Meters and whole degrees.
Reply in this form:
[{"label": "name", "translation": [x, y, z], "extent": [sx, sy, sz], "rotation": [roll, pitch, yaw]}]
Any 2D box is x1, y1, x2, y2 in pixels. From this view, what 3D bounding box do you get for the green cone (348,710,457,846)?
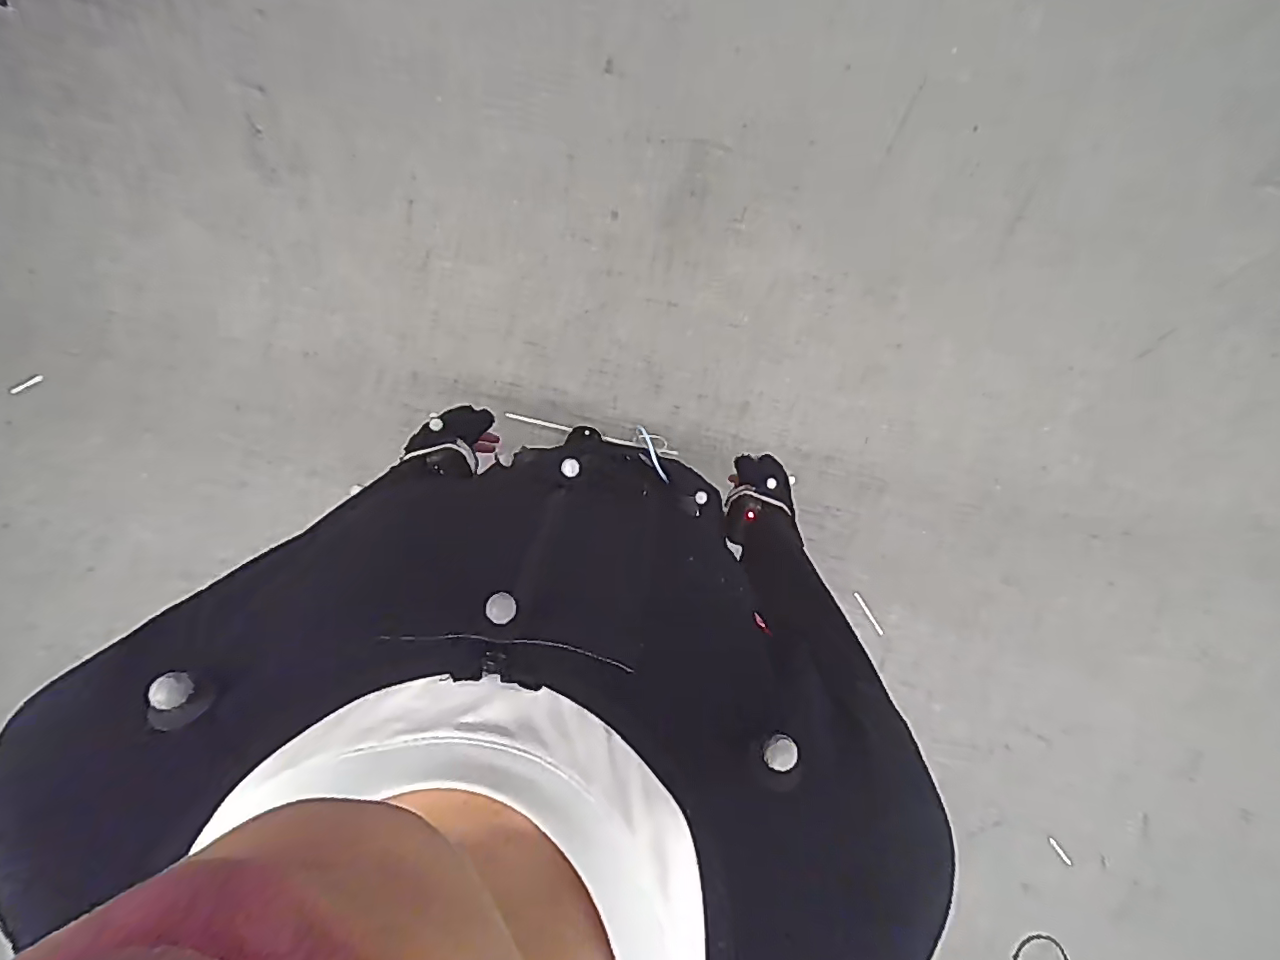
[{"label": "green cone", "translation": [-0.631, 0.776, 1.366], "extent": [0.202, 0.368, 0.200], "rotation": [12, 94, -1]}]
